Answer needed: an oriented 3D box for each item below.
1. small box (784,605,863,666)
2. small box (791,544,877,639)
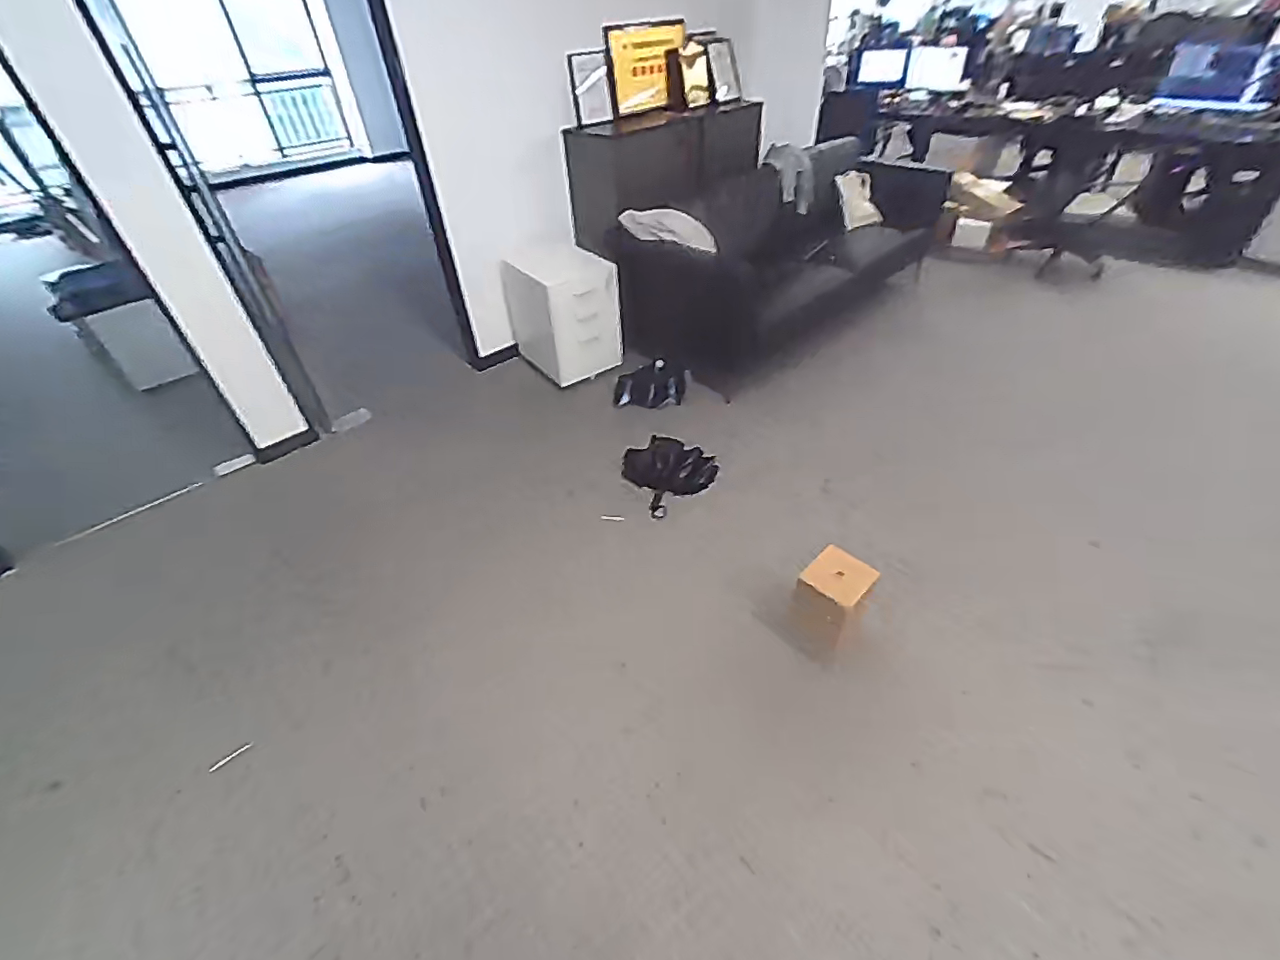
[{"bbox_3d":[0.571,0.449,1.701,0.168,0.176,0.179,32,53,33],"label":"small box"},{"bbox_3d":[0.561,0.330,1.590,0.168,0.176,0.179,33,52,32],"label":"small box"}]
